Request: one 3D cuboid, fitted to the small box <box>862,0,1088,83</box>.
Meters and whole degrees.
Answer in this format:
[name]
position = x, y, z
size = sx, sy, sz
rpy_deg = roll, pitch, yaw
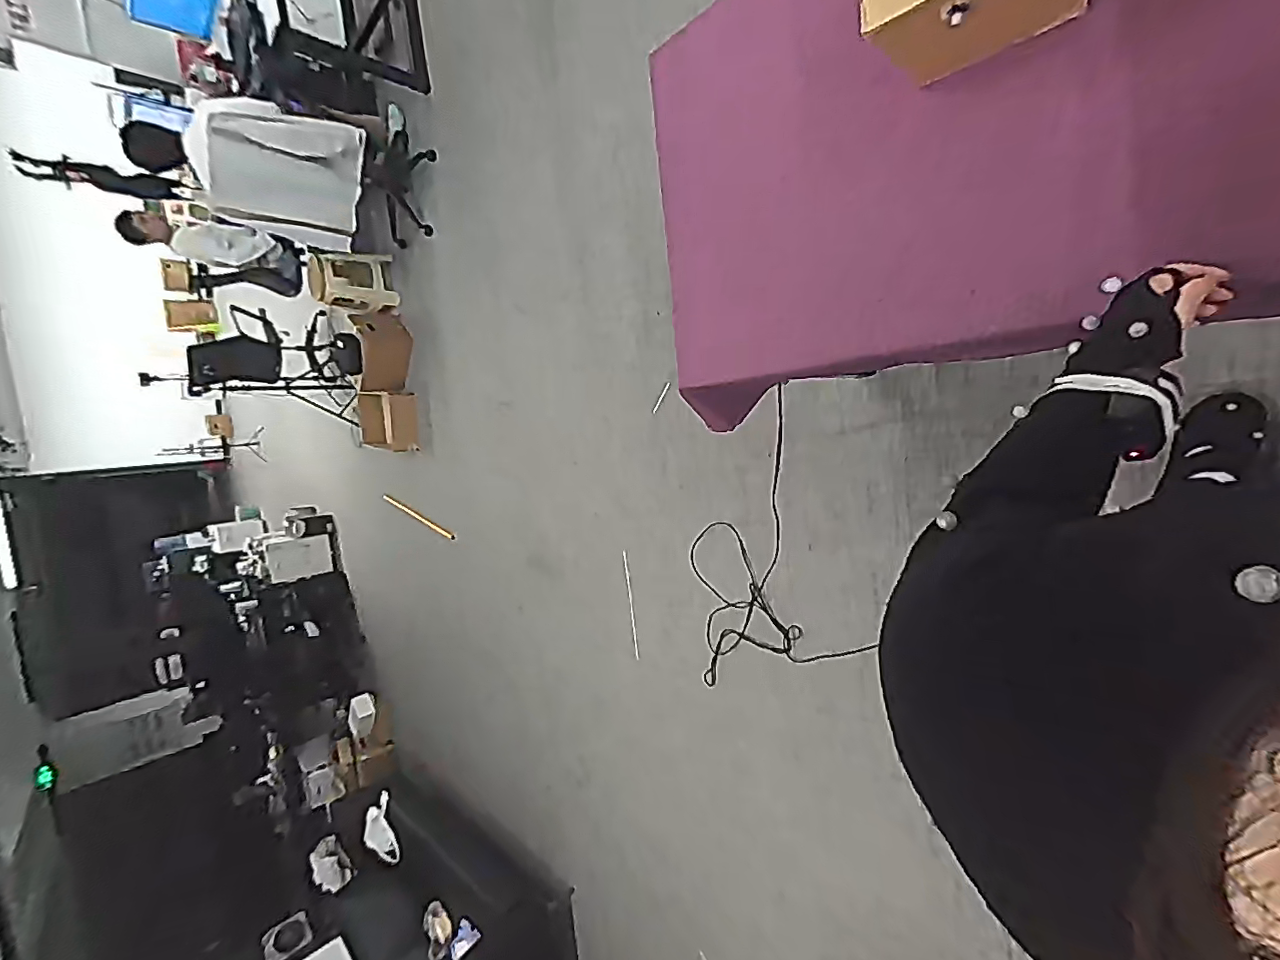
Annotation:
[small box]
position = 0.355, -0.567, 0.570
size = 0.179, 0.176, 0.168
rpy_deg = 4, 101, 45
